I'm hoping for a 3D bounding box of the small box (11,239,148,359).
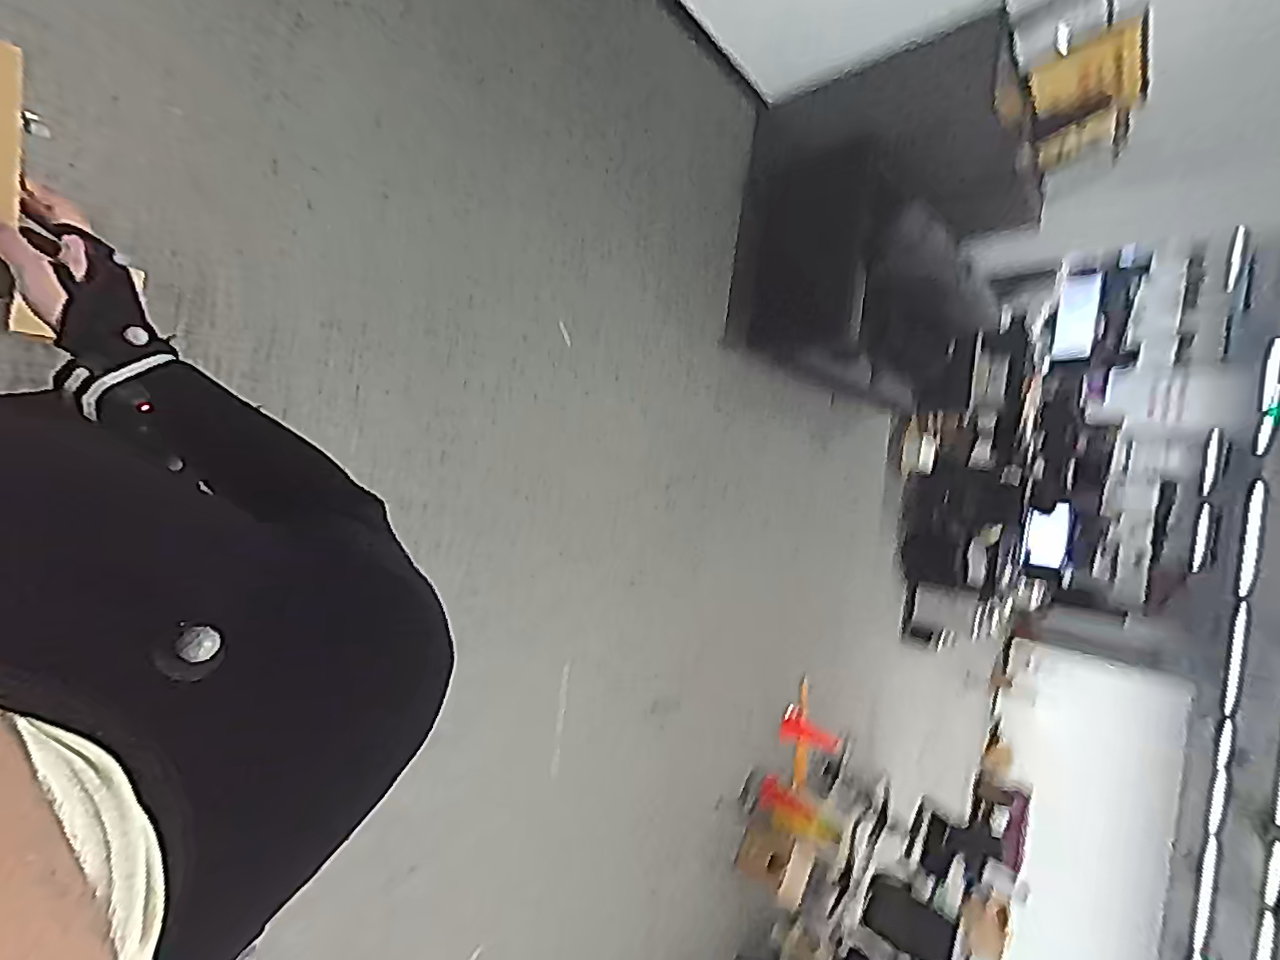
[{"bbox_3d":[-1.127,-0.352,1.094,0.168,0.176,0.179,11,88,-47],"label":"small box"}]

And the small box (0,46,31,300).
[{"bbox_3d":[-0.637,-0.274,0.451,0.168,0.176,0.179,-1,87,-50],"label":"small box"}]
